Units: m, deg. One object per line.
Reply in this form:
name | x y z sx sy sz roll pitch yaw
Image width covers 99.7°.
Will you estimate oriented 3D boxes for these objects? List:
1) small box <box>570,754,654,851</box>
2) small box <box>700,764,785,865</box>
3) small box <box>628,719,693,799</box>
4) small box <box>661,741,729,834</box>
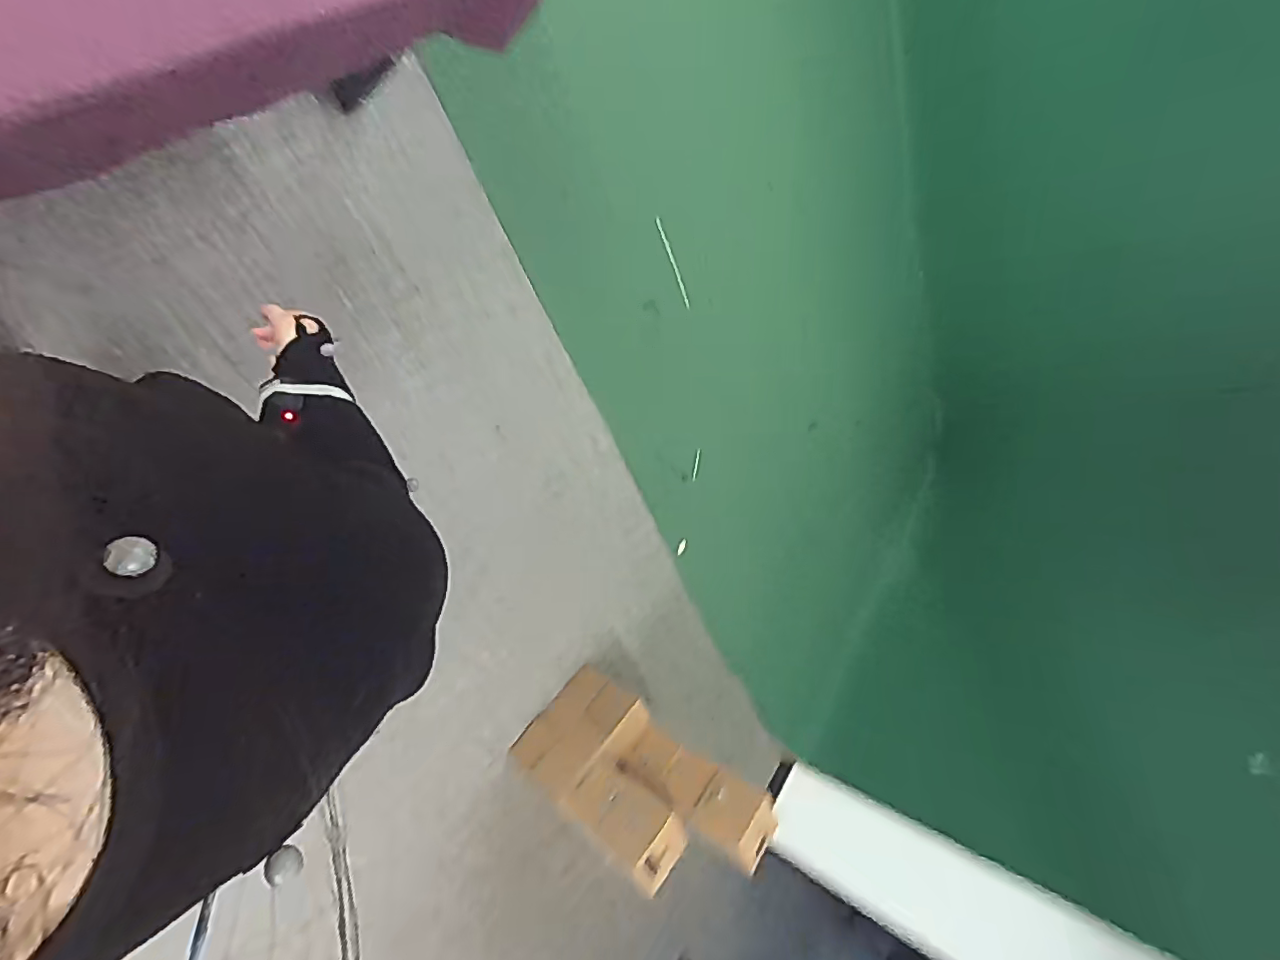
small box | -0.087 1.000 1.693 0.168 0.176 0.179 -42 126 -32
small box | 0.308 0.997 1.626 0.168 0.176 0.179 -43 125 -31
small box | 0.084 0.957 1.862 0.168 0.176 0.179 -44 127 -31
small box | 0.198 0.985 1.747 0.168 0.176 0.179 -43 124 -31
